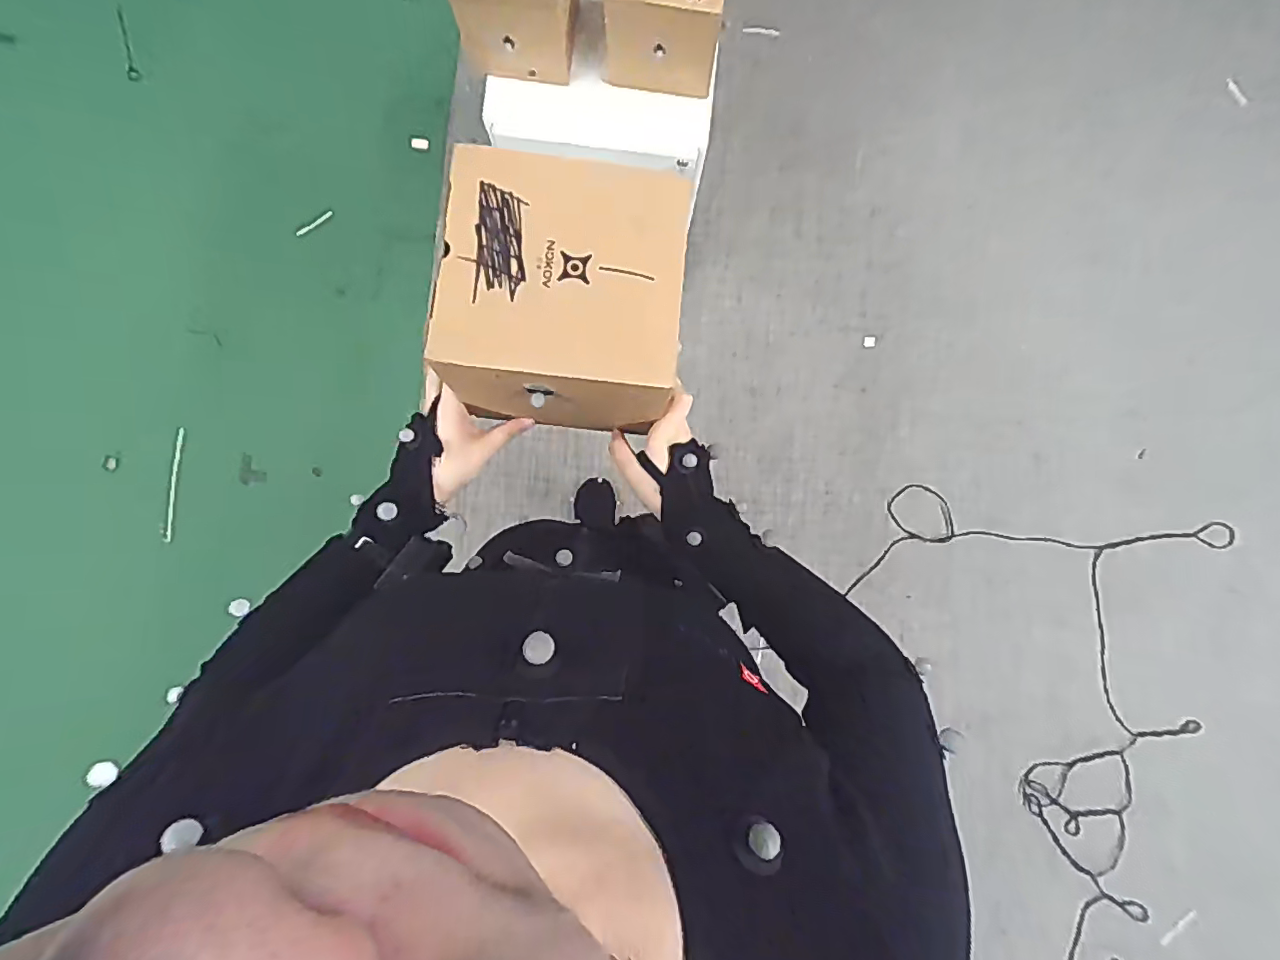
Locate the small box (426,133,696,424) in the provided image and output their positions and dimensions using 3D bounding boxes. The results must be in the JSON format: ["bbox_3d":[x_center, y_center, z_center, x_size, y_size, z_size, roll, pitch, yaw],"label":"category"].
[{"bbox_3d":[-0.060,-0.151,0.463,0.179,0.176,0.168,6,83,-5],"label":"small box"}]

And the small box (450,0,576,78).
[{"bbox_3d":[-0.193,-0.782,0.850,0.168,0.176,0.179,7,88,-3],"label":"small box"}]
